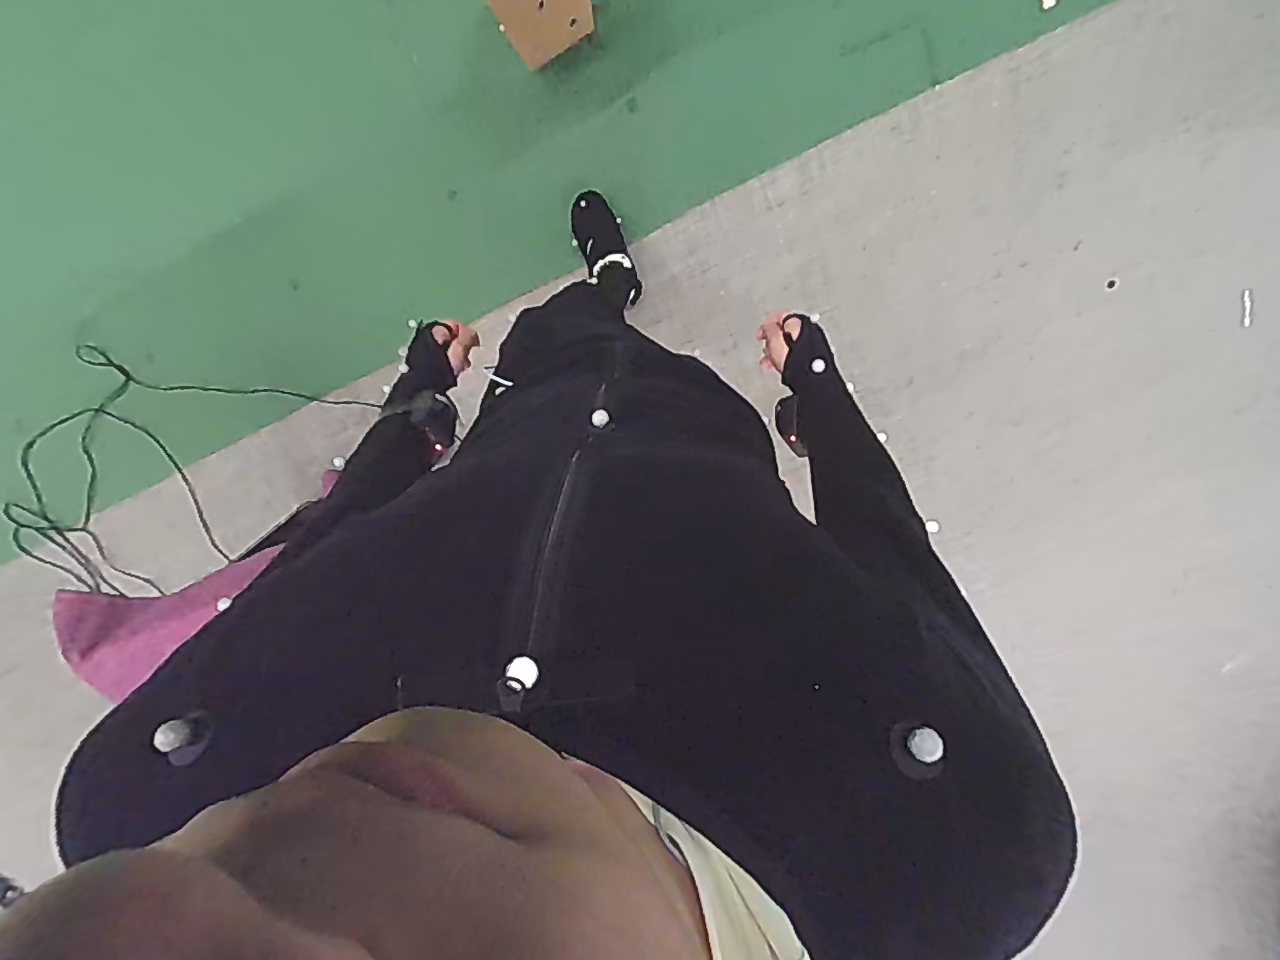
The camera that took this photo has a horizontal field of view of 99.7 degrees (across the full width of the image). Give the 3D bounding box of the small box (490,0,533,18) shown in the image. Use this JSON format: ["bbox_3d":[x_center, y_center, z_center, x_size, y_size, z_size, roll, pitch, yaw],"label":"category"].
[{"bbox_3d":[-0.207,-0.886,0.849,0.179,0.176,0.168,-27,112,10],"label":"small box"}]

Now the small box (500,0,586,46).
[{"bbox_3d":[-0.205,-0.956,0.996,0.179,0.176,0.168,-25,112,10],"label":"small box"}]

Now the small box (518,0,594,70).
[{"bbox_3d":[-0.209,-1.022,1.145,0.179,0.176,0.168,-27,111,10],"label":"small box"}]
